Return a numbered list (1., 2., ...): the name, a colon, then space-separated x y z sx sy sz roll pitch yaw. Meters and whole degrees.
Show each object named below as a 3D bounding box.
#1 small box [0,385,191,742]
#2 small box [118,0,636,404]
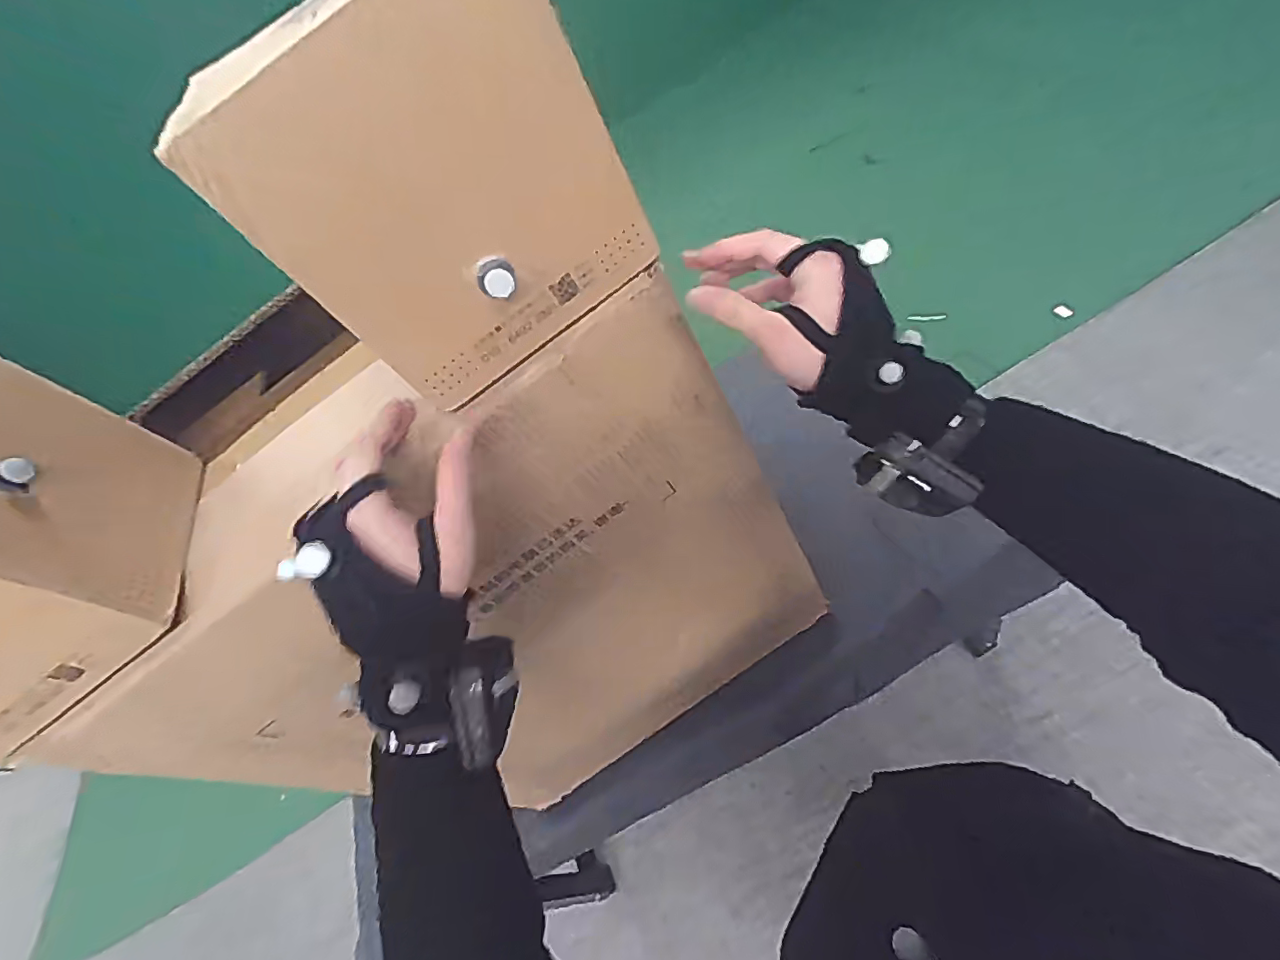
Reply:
1. small box: -0.433 0.049 0.343 0.168 0.176 0.179 -37 50 5
2. small box: -0.130 -0.177 0.313 0.168 0.176 0.179 -36 50 3
